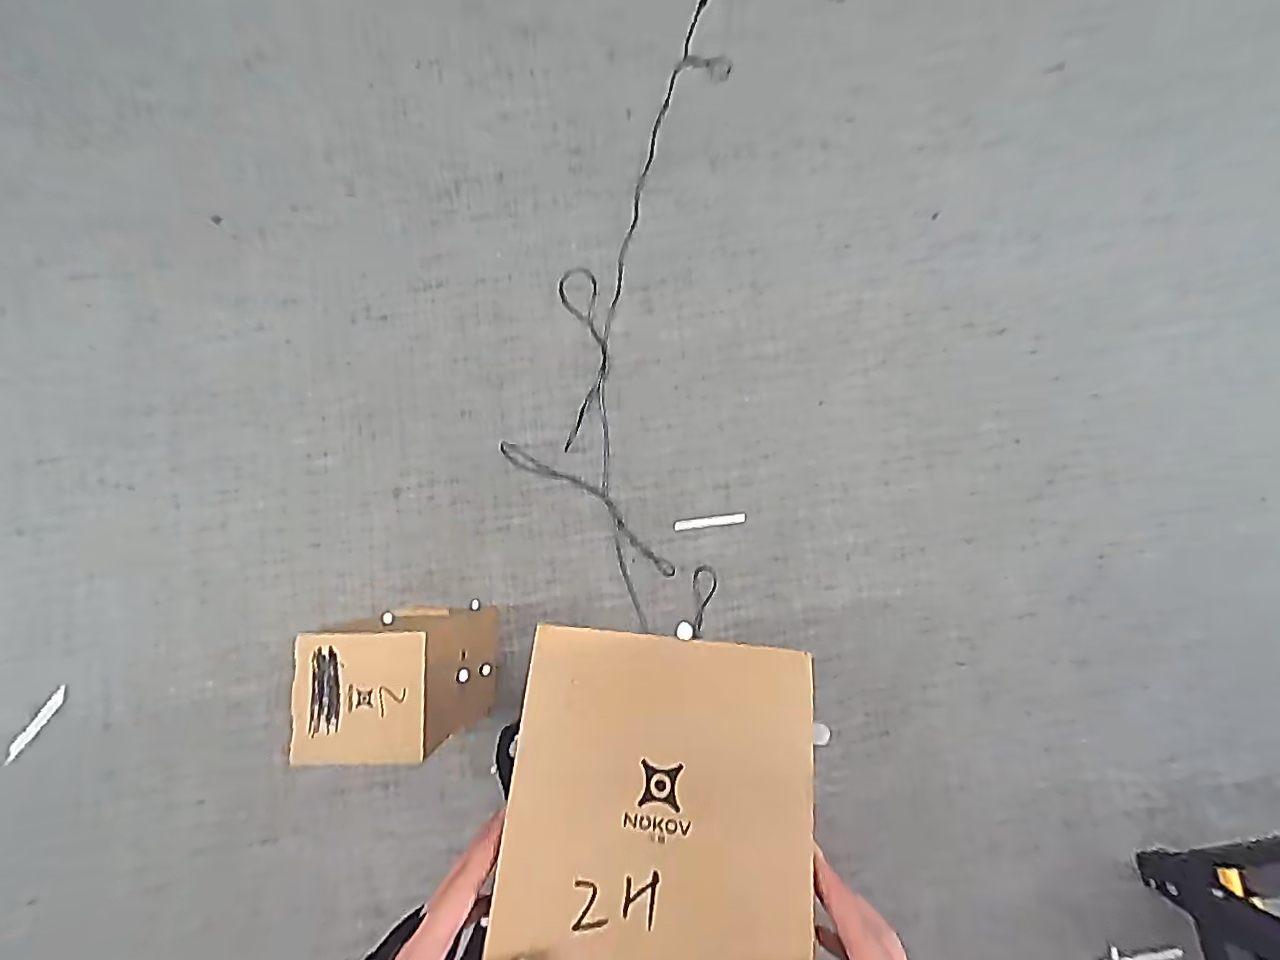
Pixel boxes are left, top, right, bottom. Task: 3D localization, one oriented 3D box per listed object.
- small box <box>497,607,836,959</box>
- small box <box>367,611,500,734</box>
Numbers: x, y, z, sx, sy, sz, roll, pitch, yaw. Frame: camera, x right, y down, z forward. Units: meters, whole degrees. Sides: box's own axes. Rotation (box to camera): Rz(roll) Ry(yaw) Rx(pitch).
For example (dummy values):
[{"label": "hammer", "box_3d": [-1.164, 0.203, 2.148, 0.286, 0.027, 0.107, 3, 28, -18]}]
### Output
[{"label": "small box", "box_3d": [0.026, 0.191, 0.359, 0.168, 0.176, 0.179, 4, 71, 8]}, {"label": "small box", "box_3d": [-0.347, 0.322, 0.937, 0.168, 0.176, 0.179, -1, 84, 1]}]
